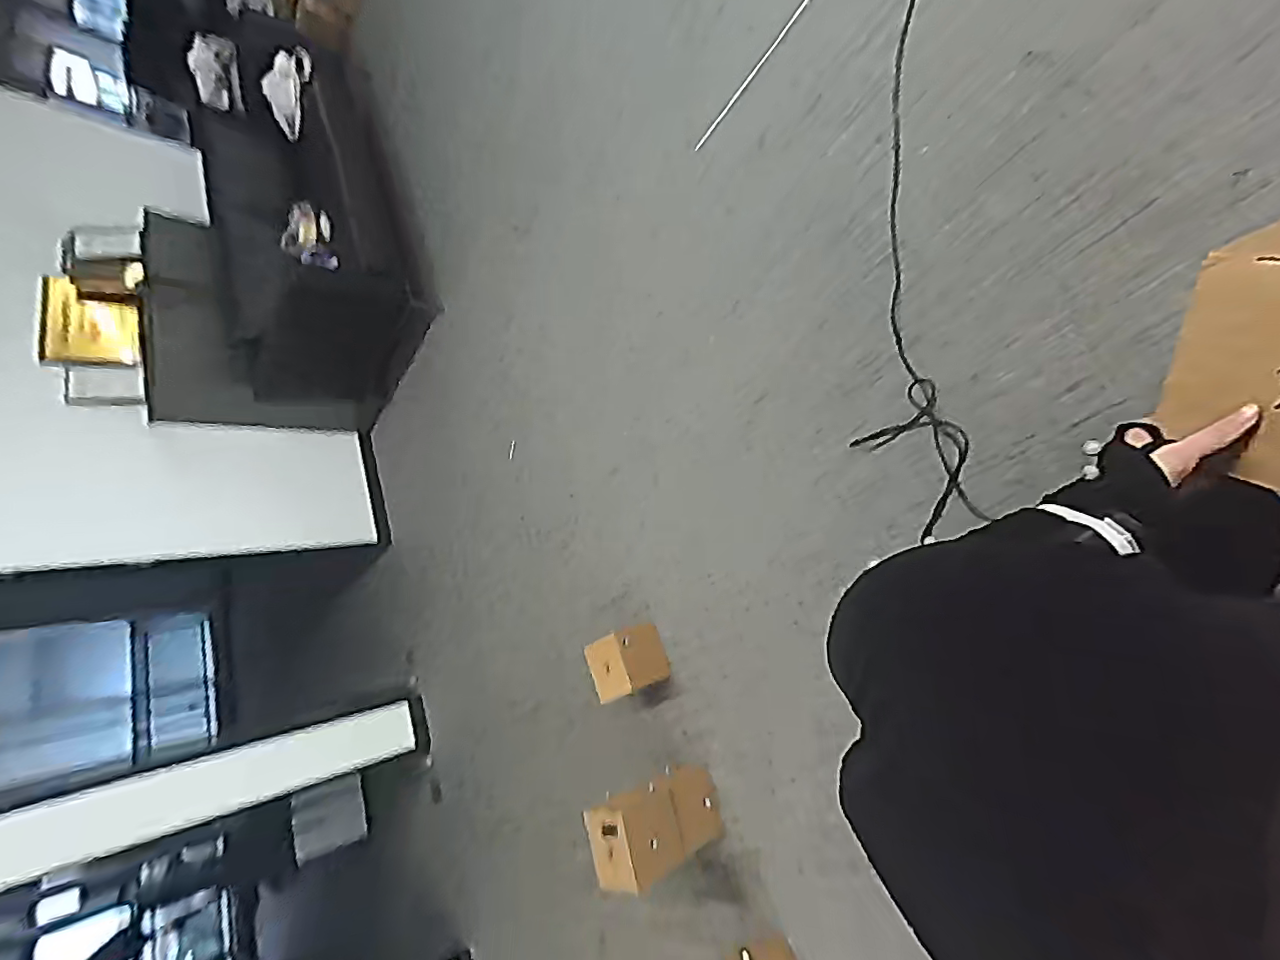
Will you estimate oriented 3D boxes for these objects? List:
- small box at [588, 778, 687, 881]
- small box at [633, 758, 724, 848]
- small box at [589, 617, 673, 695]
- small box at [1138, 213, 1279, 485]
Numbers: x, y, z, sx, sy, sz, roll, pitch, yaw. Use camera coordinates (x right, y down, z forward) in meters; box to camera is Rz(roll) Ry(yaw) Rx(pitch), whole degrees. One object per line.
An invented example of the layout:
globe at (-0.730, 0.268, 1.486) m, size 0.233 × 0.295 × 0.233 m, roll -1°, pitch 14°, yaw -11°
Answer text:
small box at (-0.005, 0.901, 1.414) m, size 0.168 × 0.176 × 0.179 m, roll -29°, pitch 70°, yaw 43°
small box at (0.110, 0.904, 1.533) m, size 0.168 × 0.176 × 0.179 m, roll -31°, pitch 68°, yaw 43°
small box at (-0.026, 0.542, 1.678) m, size 0.168 × 0.176 × 0.179 m, roll -40°, pitch 61°, yaw 39°
small box at (0.546, -0.105, 0.412) m, size 0.168 × 0.176 × 0.179 m, roll 44°, pitch 154°, yaw 56°
